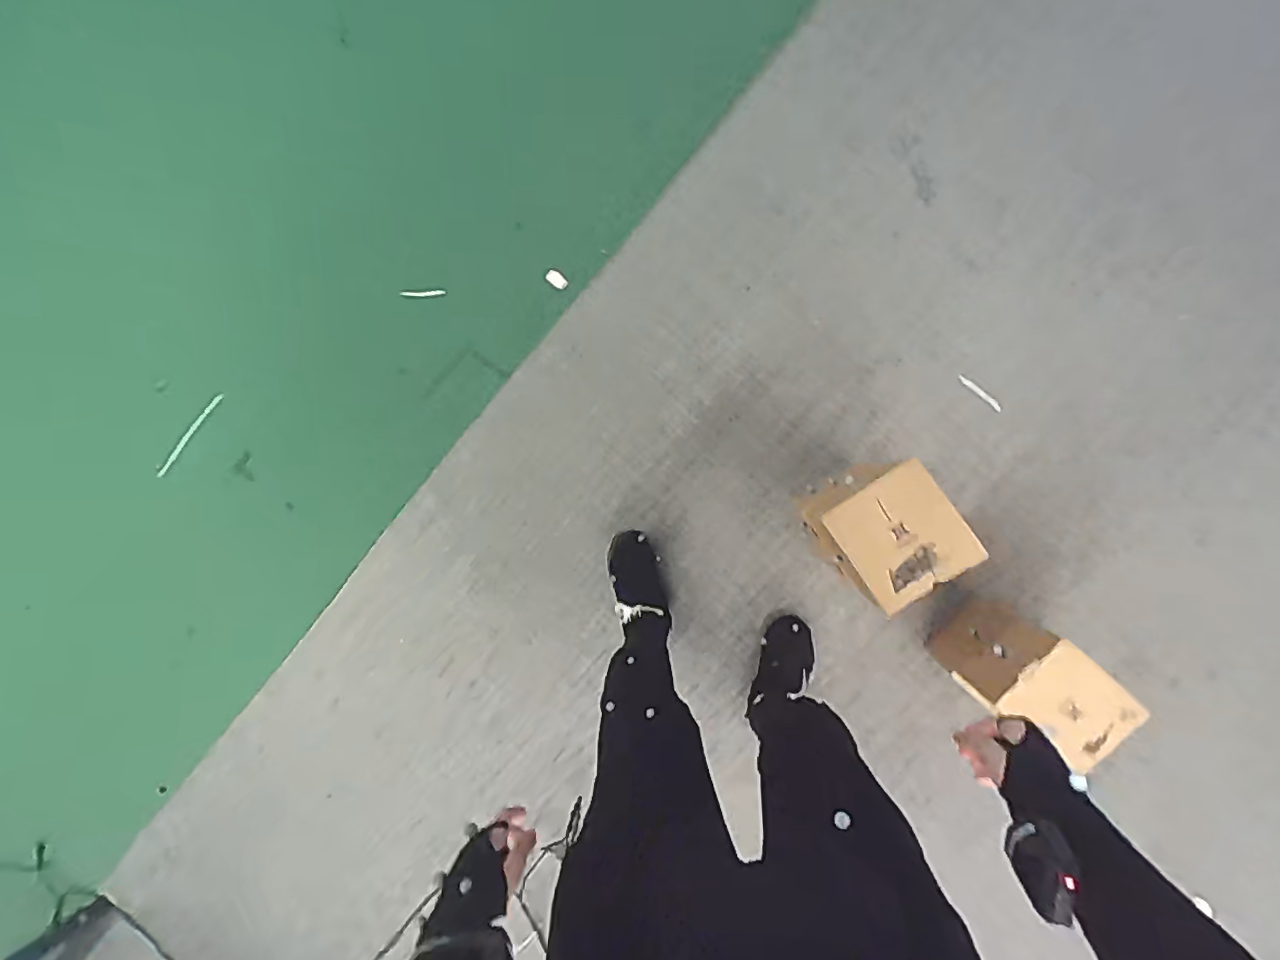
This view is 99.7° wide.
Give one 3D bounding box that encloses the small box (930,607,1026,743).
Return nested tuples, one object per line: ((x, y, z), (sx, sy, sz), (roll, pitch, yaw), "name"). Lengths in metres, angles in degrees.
((0.734, 0.391, 1.117), (0.168, 0.176, 0.179), (44, 97, 8), "small box")

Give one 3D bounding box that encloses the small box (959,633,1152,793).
((0.711, 0.392, 0.954), (0.168, 0.176, 0.179), (-45, 82, 8), "small box")

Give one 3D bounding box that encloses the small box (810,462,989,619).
((0.388, 0.085, 0.843), (0.168, 0.176, 0.179), (-32, 84, 8), "small box")

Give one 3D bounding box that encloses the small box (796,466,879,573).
((0.449, 0.082, 1.166), (0.179, 0.176, 0.168), (-26, 86, 9), "small box")
